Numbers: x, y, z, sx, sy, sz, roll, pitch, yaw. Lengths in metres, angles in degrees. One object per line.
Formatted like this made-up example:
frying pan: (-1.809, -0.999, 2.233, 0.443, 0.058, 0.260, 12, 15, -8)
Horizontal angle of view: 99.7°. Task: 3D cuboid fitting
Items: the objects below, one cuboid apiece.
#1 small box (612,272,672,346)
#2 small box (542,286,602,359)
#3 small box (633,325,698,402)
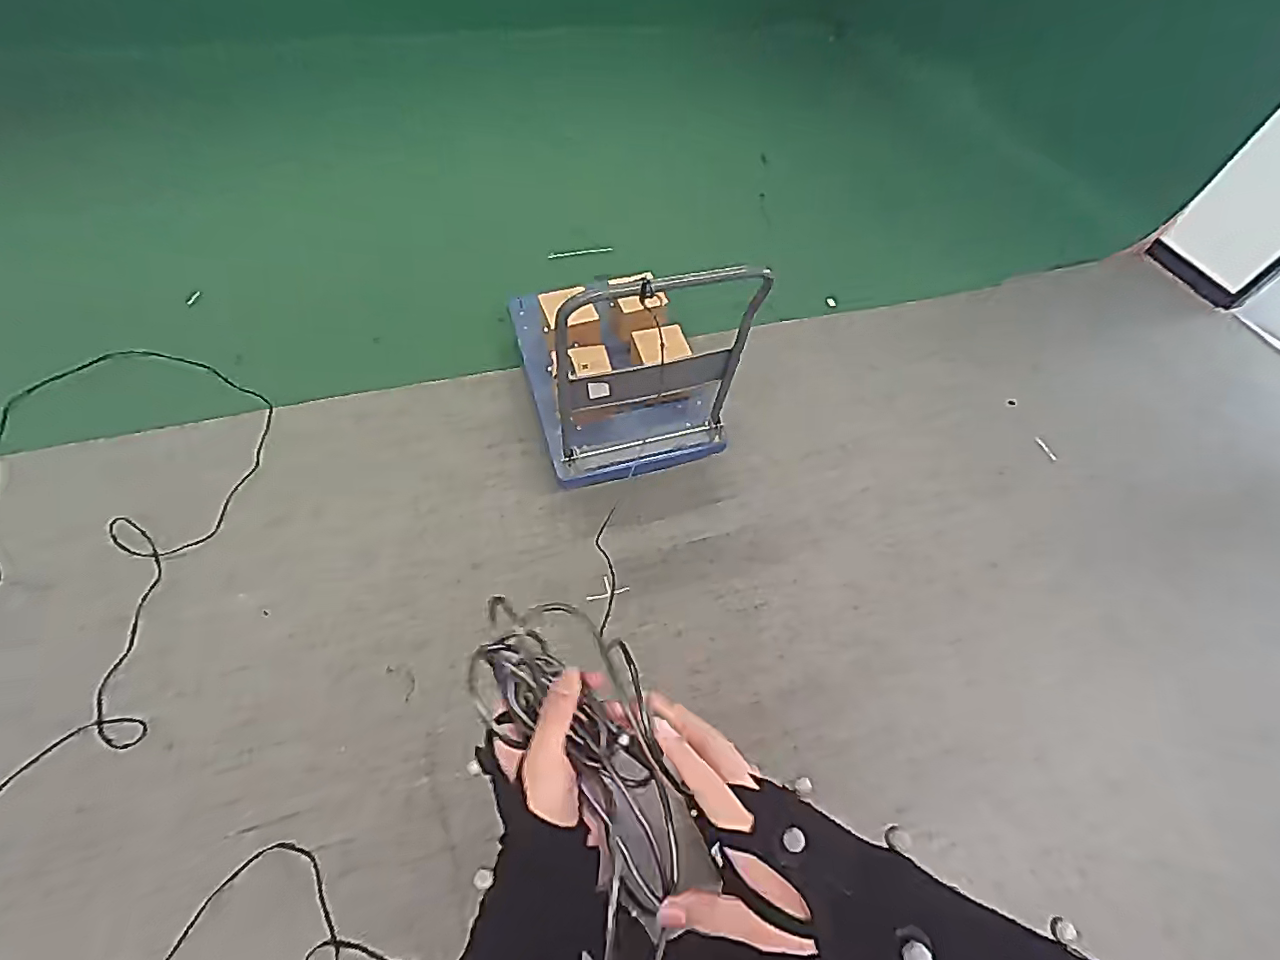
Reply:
small box: (0.000, -0.611, 1.941, 0.168, 0.176, 0.179, -17, 62, -13)
small box: (-0.234, -0.540, 1.882, 0.168, 0.176, 0.179, -16, 60, -14)
small box: (0.079, -0.389, 1.809, 0.168, 0.176, 0.179, -12, 61, -11)
